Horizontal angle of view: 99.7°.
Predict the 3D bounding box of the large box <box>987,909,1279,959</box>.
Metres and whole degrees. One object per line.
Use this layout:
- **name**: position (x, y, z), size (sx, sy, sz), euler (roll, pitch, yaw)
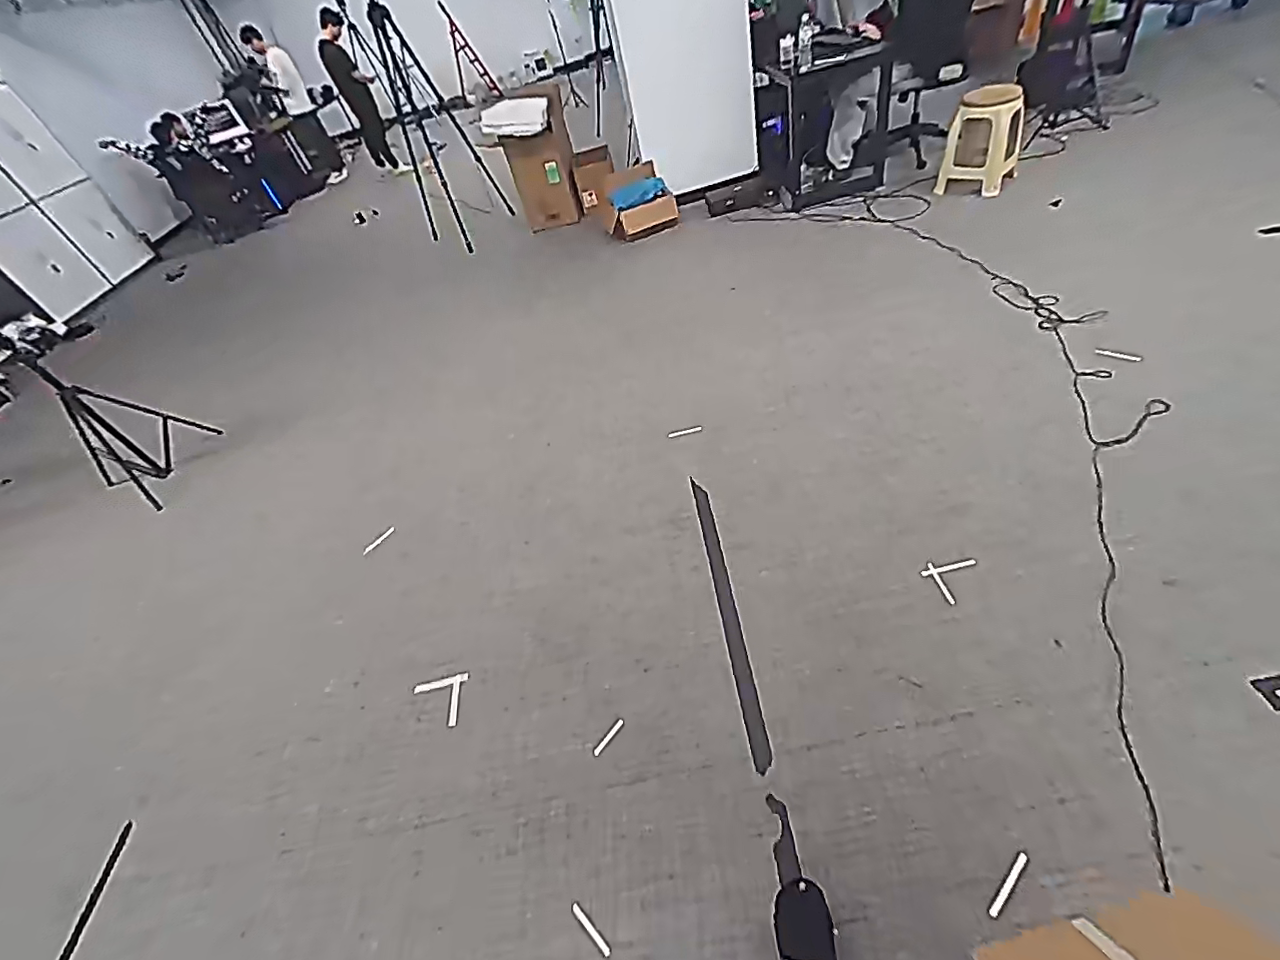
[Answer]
- **large box**: position (0.623, 0.716, 0.508), size (0.320, 0.408, 0.320), euler (-18, 76, 2)
